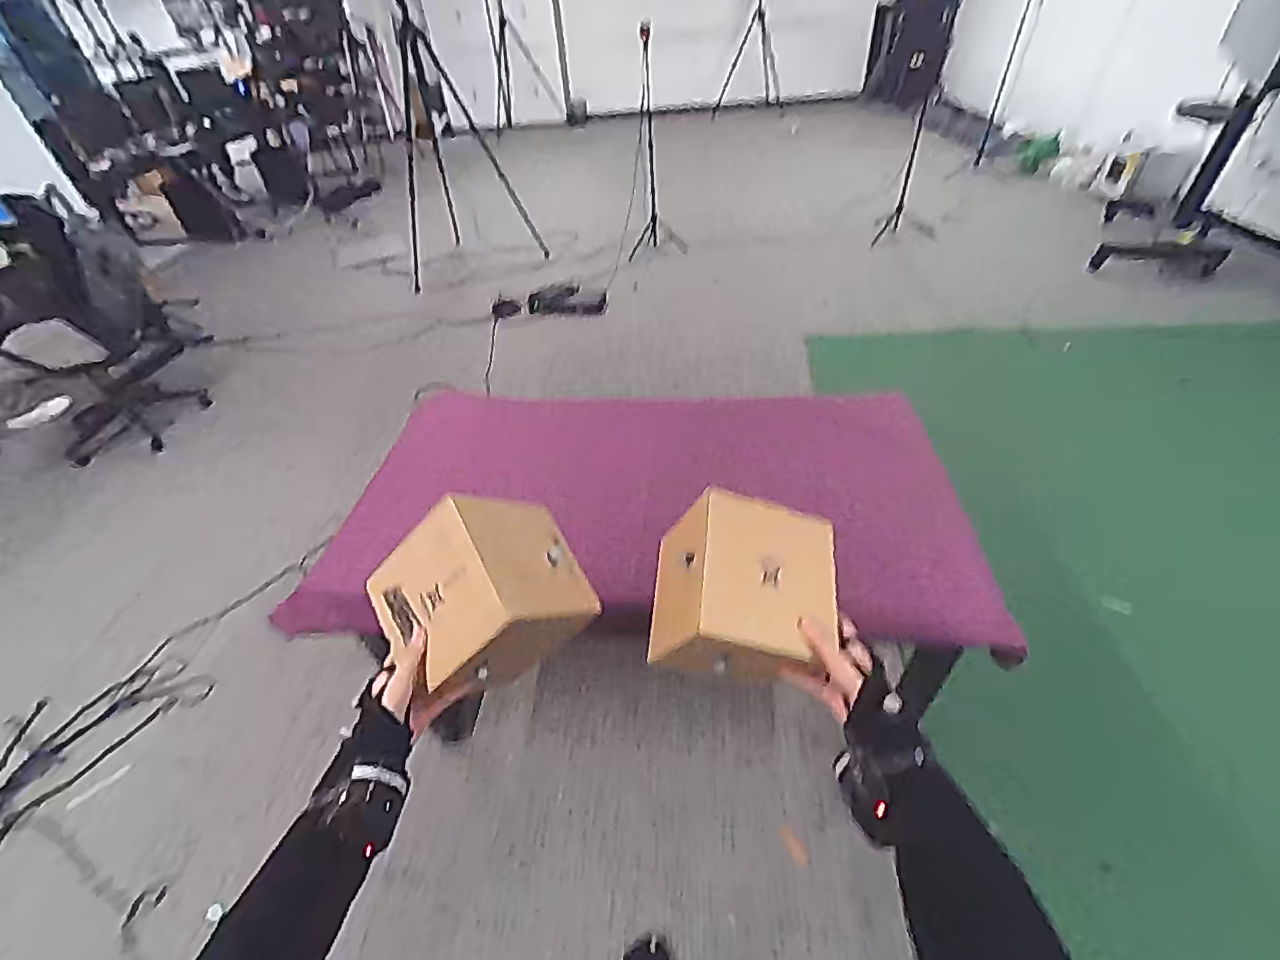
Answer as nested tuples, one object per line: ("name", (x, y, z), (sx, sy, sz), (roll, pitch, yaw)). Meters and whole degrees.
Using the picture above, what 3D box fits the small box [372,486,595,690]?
("small box", (-0.189, 0.134, 0.672), (0.179, 0.176, 0.168), (-40, 64, 16))

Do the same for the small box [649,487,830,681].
("small box", (0.117, 0.141, 0.683), (0.168, 0.176, 0.179), (16, 55, -10))
